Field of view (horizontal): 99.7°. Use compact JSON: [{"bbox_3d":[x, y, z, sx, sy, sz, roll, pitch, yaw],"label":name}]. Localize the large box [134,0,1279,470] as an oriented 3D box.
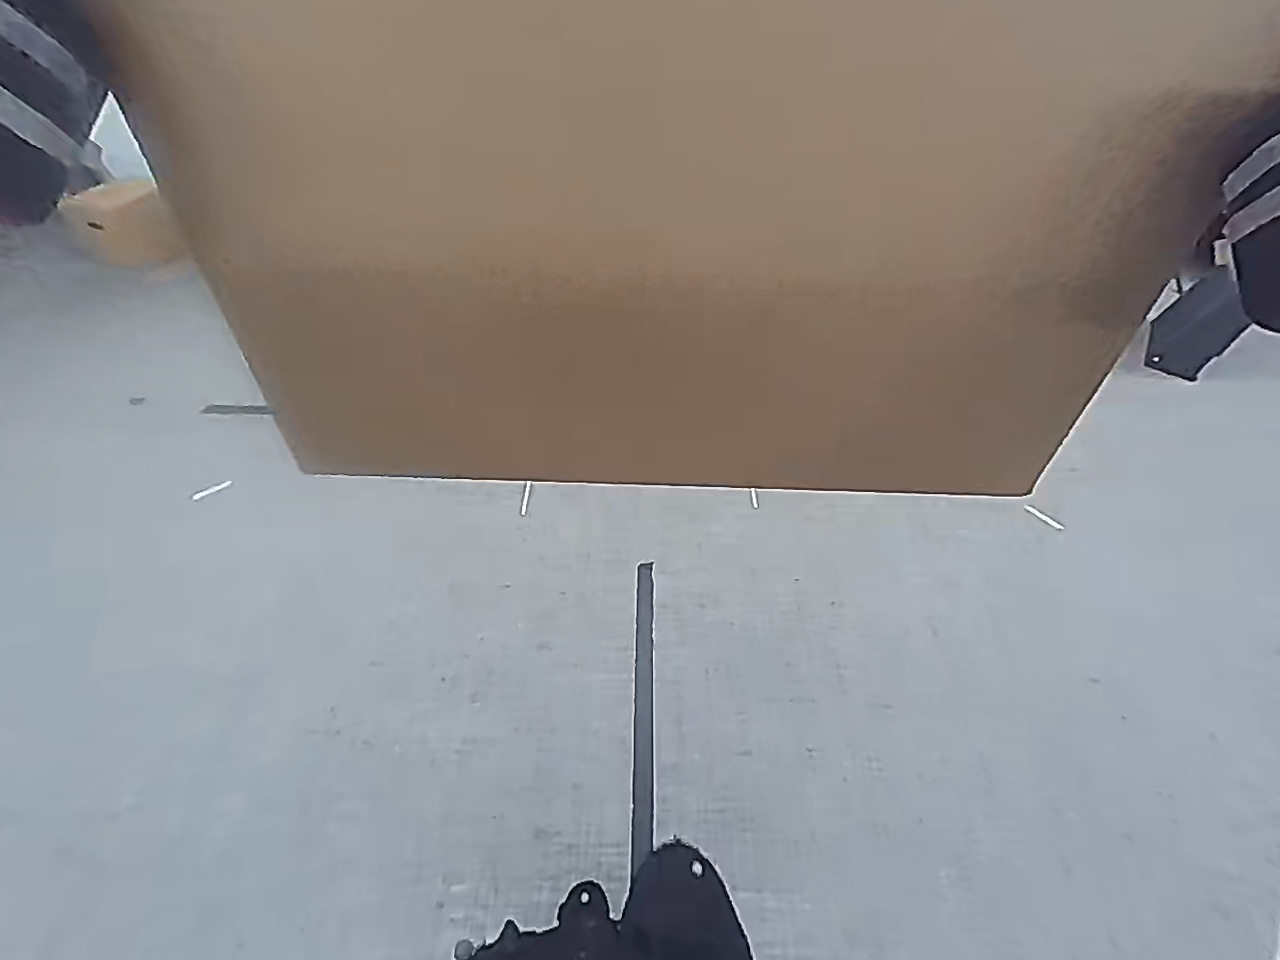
[{"bbox_3d":[0.023,-0.219,0.324,0.408,0.320,0.320,3,41,-1],"label":"large box"}]
